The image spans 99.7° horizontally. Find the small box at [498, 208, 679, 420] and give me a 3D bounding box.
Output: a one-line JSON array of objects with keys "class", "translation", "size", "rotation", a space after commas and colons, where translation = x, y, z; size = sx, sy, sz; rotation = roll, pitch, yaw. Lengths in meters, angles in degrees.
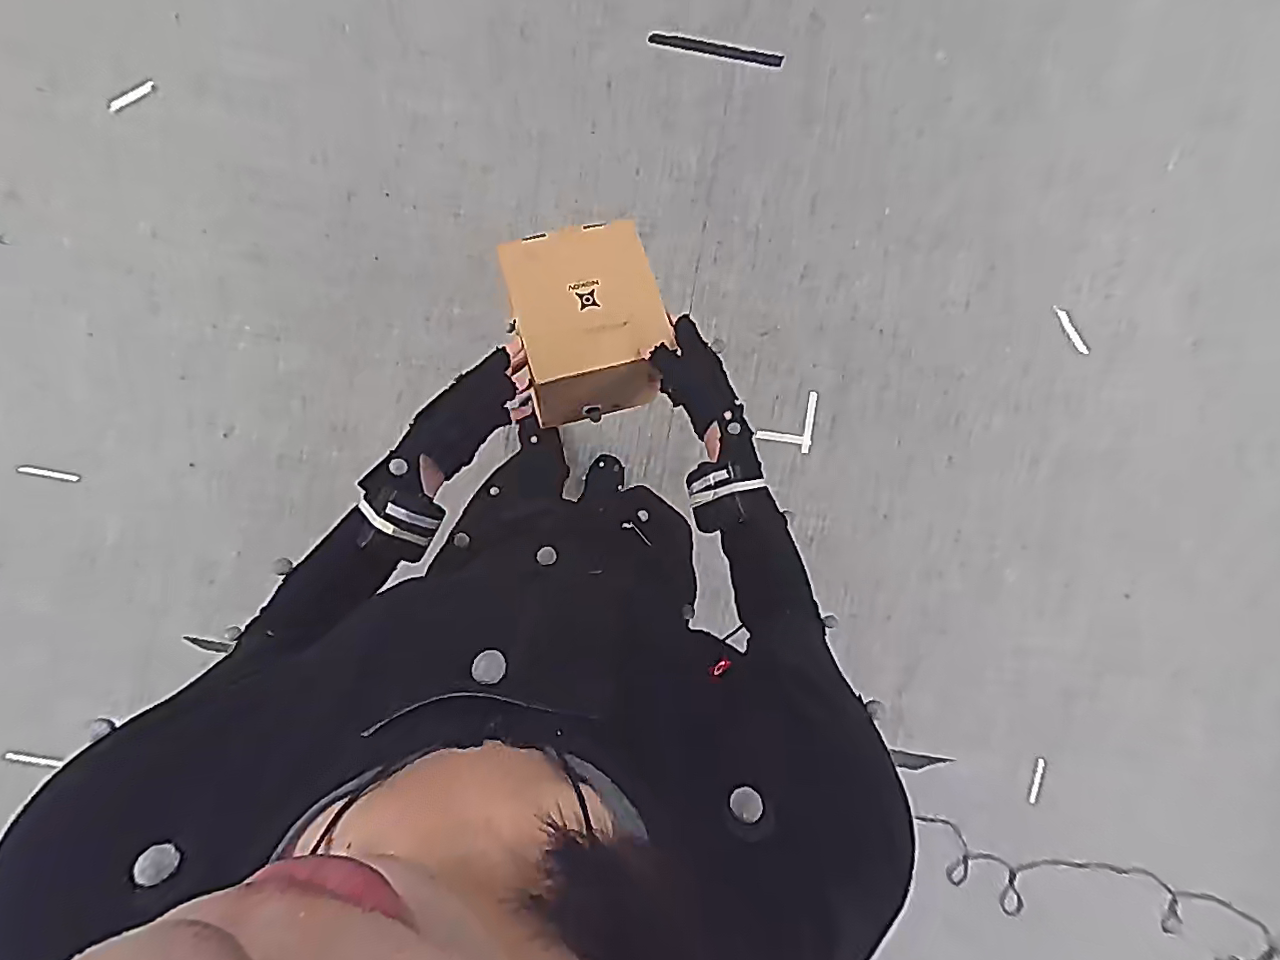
[{"class": "small box", "translation": [-0.068, -0.196, 0.671], "size": [0.168, 0.176, 0.179], "rotation": [-16, 80, -10]}]
